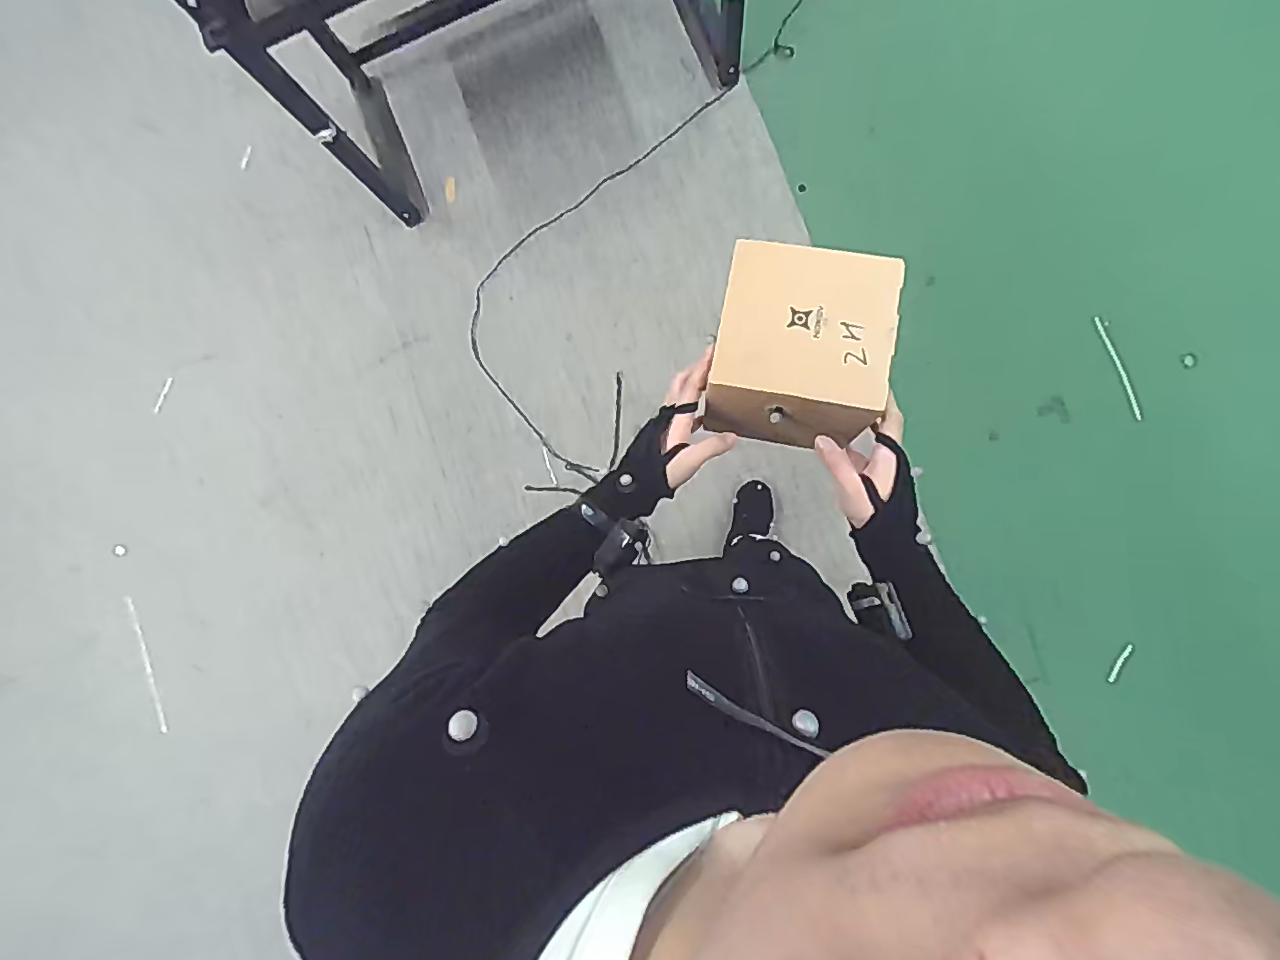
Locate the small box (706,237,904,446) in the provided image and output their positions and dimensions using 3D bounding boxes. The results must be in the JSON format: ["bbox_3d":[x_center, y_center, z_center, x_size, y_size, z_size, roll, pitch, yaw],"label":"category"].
[{"bbox_3d":[0.174,-0.147,0.620,0.179,0.176,0.168,11,80,7],"label":"small box"}]
